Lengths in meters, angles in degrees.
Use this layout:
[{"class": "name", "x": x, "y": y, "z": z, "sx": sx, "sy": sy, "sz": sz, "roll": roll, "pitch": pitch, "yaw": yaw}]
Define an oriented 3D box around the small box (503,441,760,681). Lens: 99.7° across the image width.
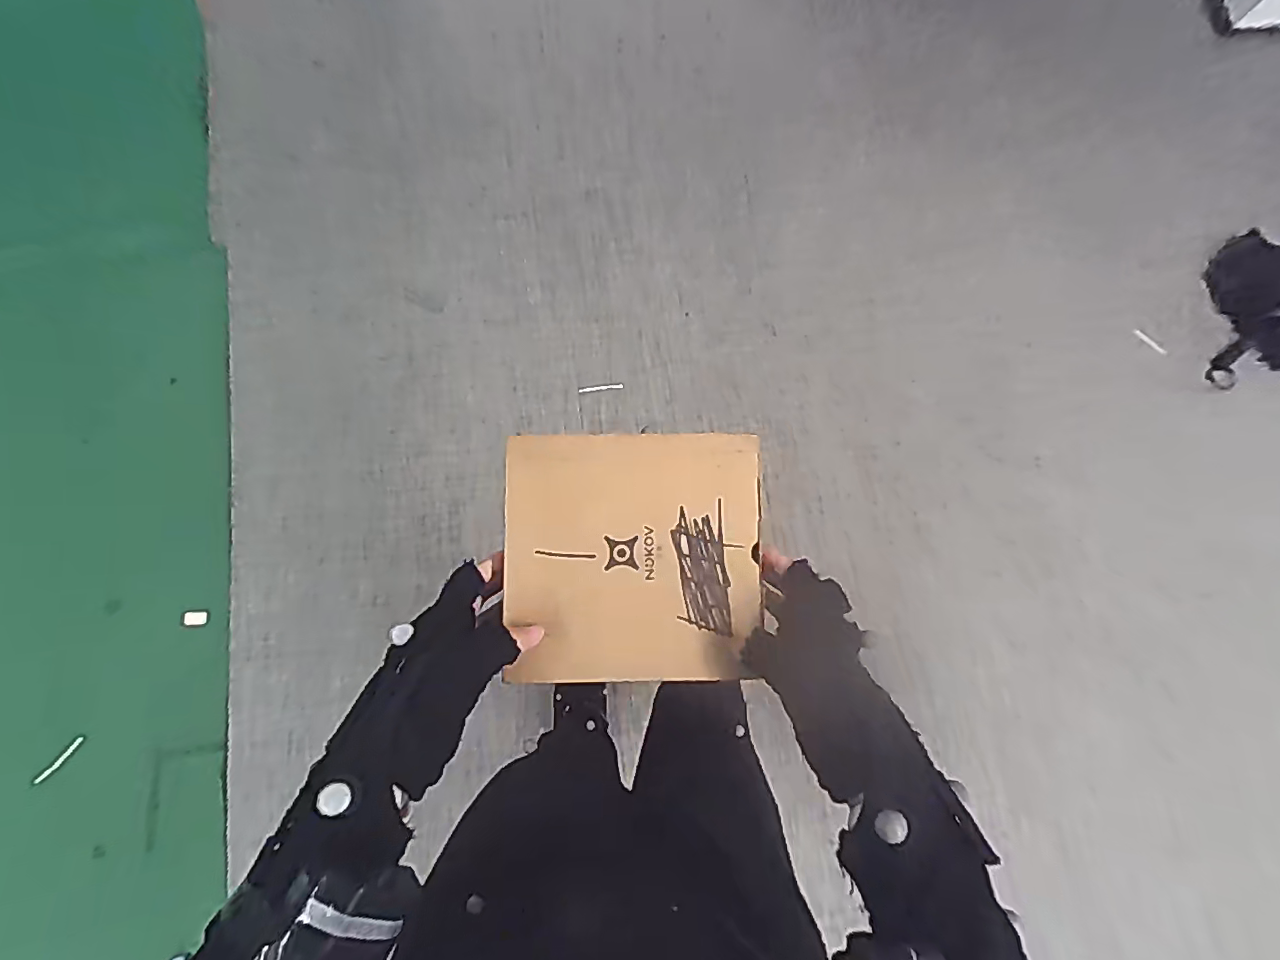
[{"class": "small box", "x": -0.007, "y": 0.062, "z": 0.451, "sx": 0.179, "sy": 0.176, "sz": 0.168, "roll": -1, "pitch": 83, "yaw": 0}]
